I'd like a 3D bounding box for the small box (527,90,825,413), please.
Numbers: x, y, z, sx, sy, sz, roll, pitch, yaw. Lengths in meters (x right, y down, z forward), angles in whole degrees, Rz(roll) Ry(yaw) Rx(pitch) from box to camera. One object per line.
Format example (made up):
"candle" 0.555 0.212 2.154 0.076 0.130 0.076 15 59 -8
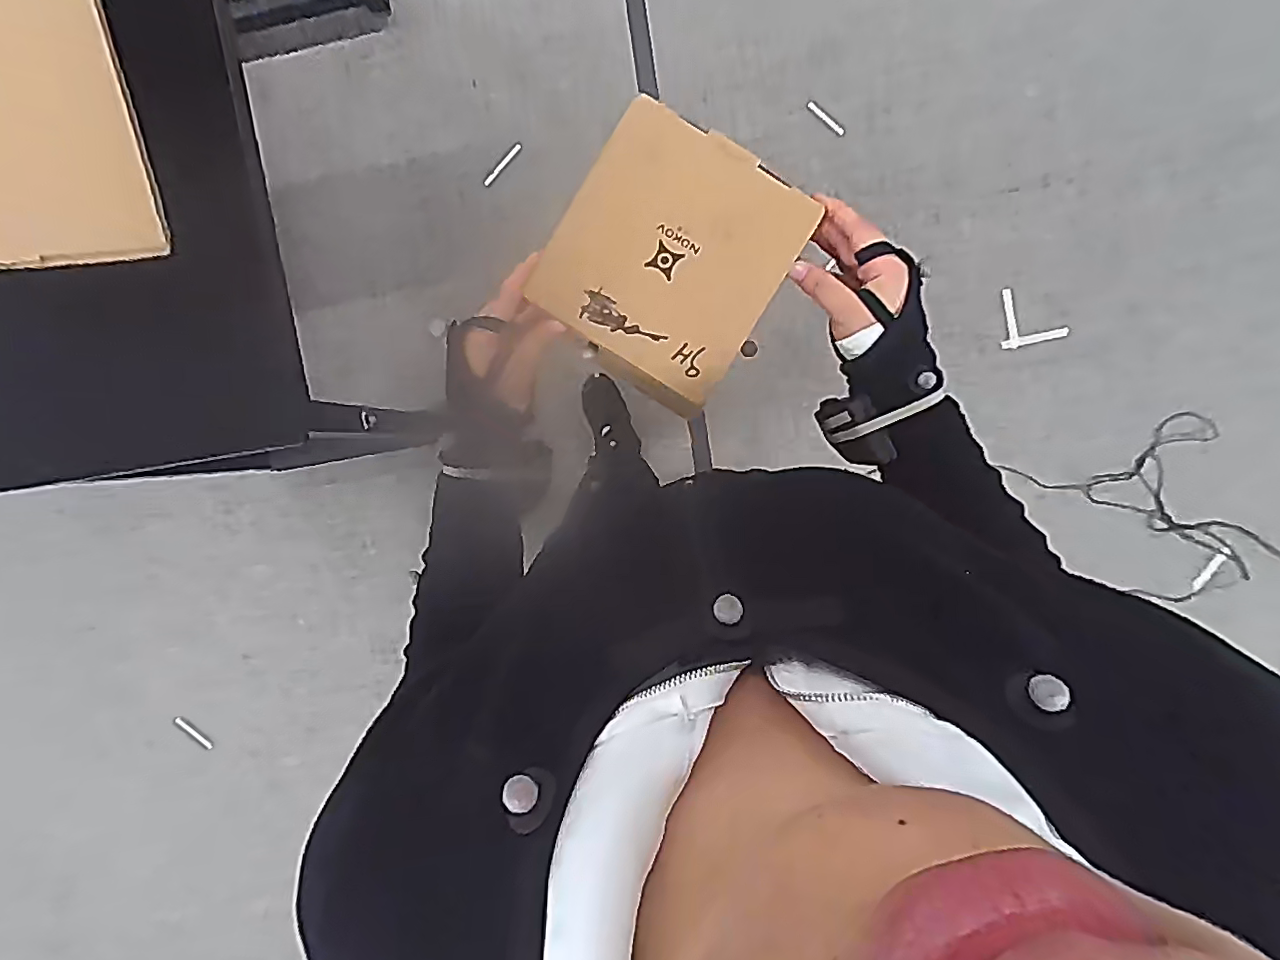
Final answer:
"small box" 0.028 -0.179 0.484 0.168 0.176 0.179 32 92 2
